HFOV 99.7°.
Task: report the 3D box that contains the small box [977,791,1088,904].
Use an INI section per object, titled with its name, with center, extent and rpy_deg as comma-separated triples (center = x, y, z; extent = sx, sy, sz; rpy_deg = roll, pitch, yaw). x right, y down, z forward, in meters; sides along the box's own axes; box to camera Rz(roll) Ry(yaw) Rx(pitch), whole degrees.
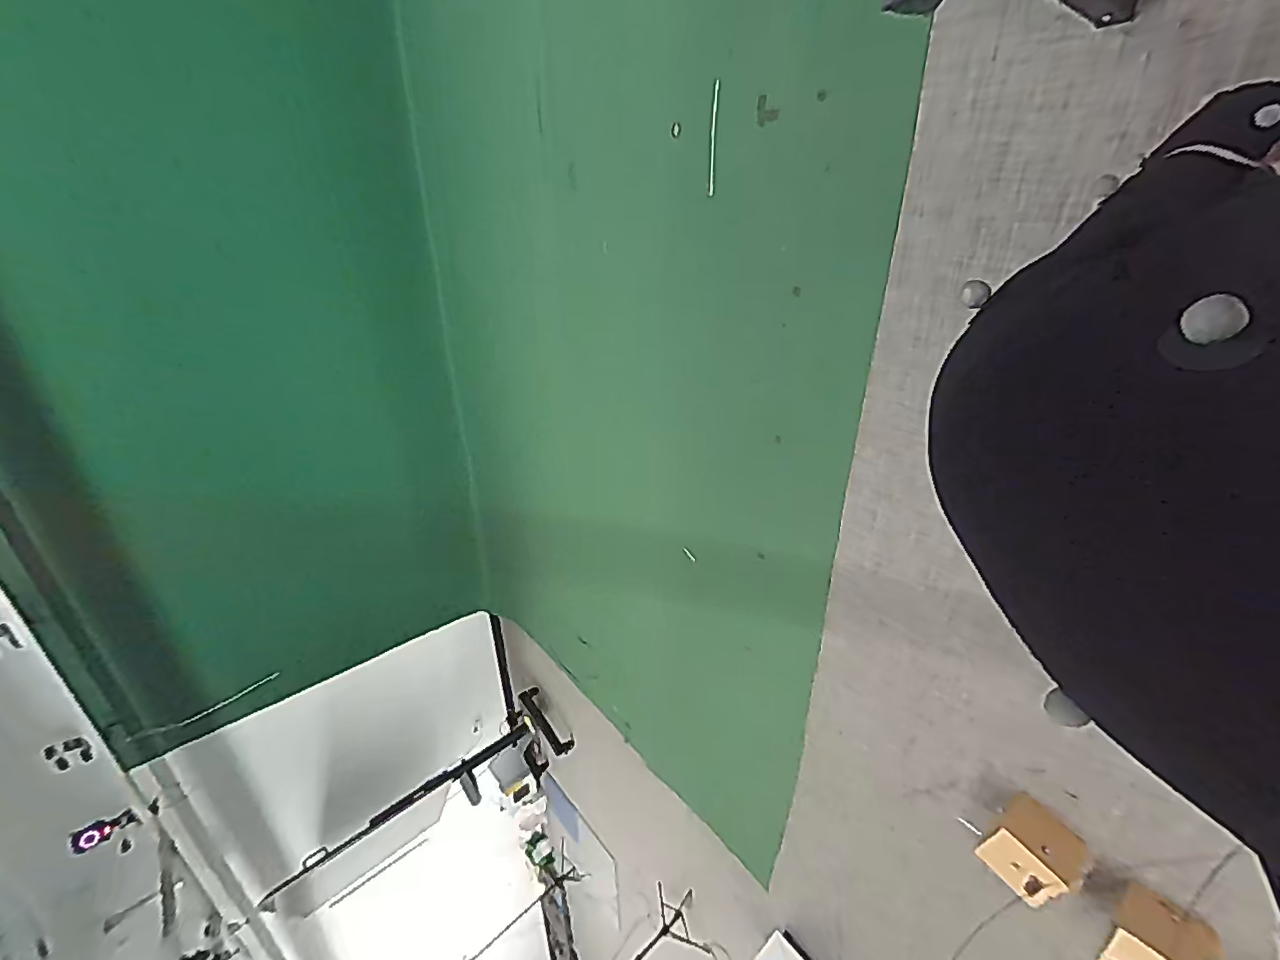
[small box]
center = 1.111, 1.032, 1.528
extent = 0.179, 0.176, 0.168
rpy_deg = 42, 136, 35
